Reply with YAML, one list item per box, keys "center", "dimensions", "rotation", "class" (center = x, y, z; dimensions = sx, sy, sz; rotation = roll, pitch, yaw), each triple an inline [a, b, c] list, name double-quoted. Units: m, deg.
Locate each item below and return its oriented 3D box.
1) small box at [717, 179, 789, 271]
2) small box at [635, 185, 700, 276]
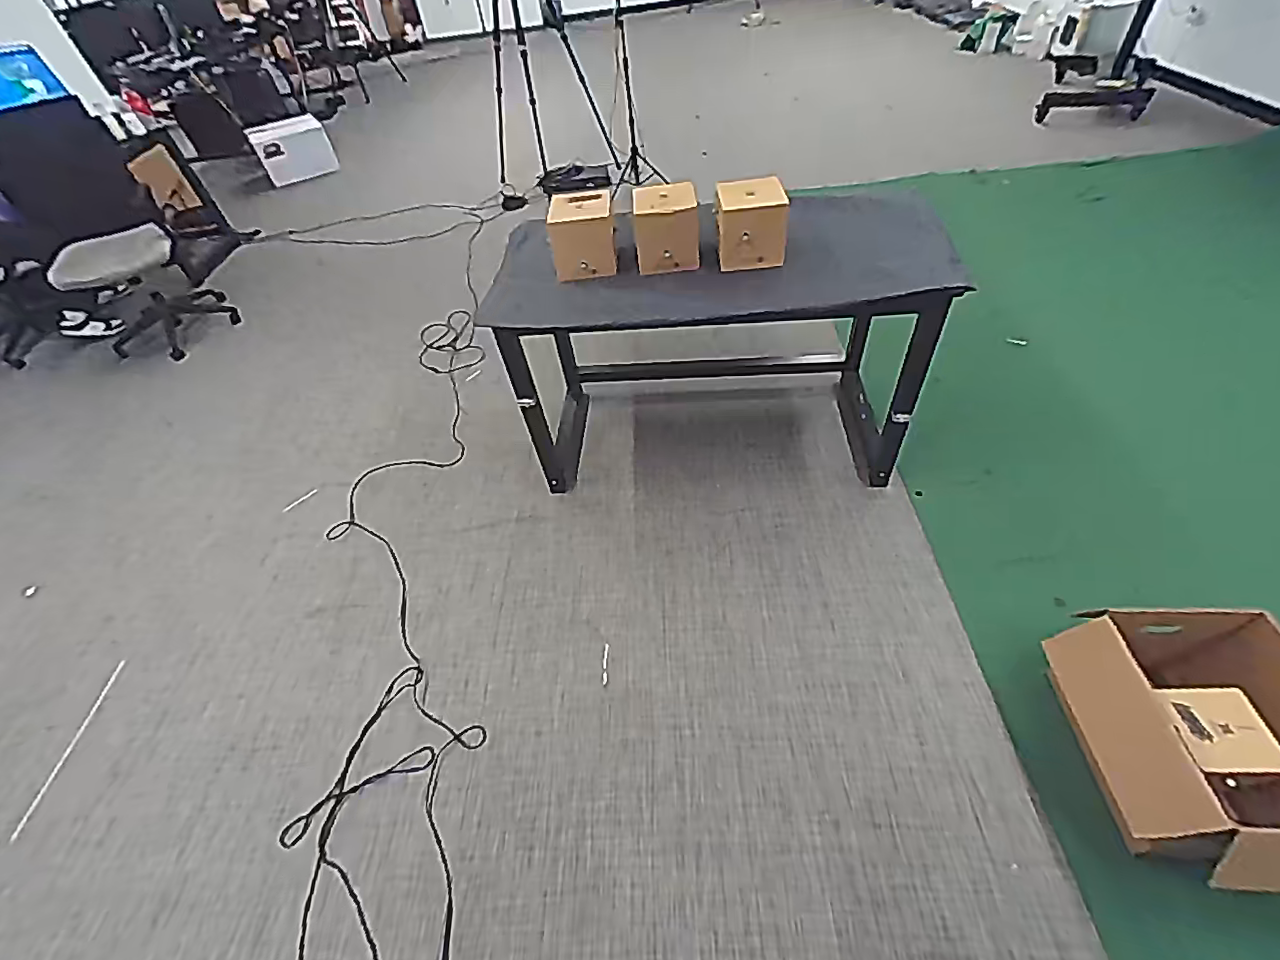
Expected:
- center: [0.297, -0.675, 1.446]
  dimensions: [0.168, 0.176, 0.179]
  rotation: [-4, 47, 4]
  class: "small box"
- center: [0.075, -0.682, 1.481]
  dimensions: [0.168, 0.176, 0.179]
  rotation: [-5, 48, 4]
  class: "small box"
